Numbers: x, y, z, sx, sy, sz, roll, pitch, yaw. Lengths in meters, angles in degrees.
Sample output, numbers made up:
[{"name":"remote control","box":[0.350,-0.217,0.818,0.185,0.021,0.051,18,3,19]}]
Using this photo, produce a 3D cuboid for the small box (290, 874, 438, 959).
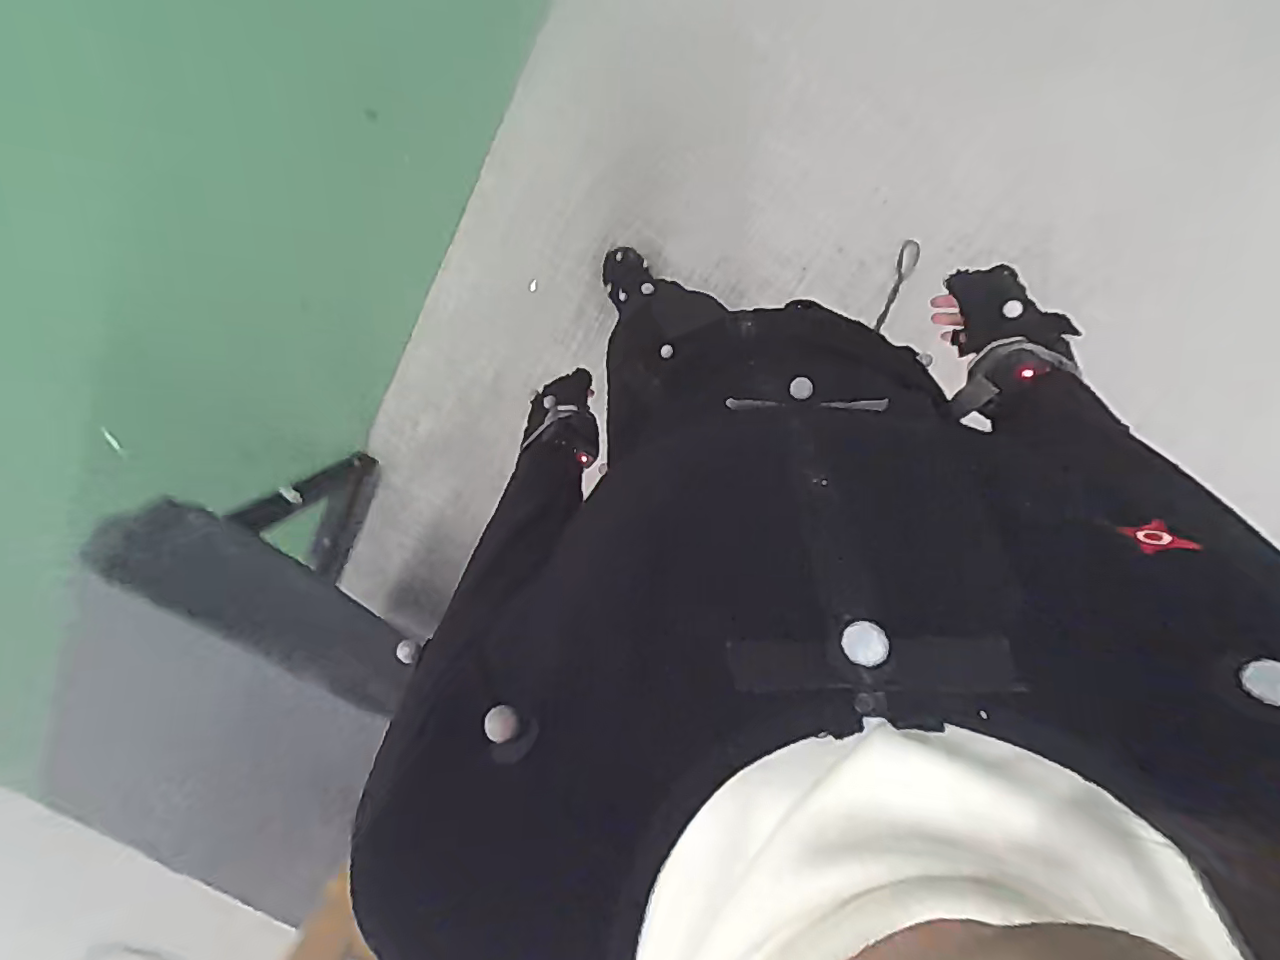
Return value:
[{"name":"small box","box":[-0.406,0.701,0.749,0.168,0.176,0.179,27,109,-3]}]
